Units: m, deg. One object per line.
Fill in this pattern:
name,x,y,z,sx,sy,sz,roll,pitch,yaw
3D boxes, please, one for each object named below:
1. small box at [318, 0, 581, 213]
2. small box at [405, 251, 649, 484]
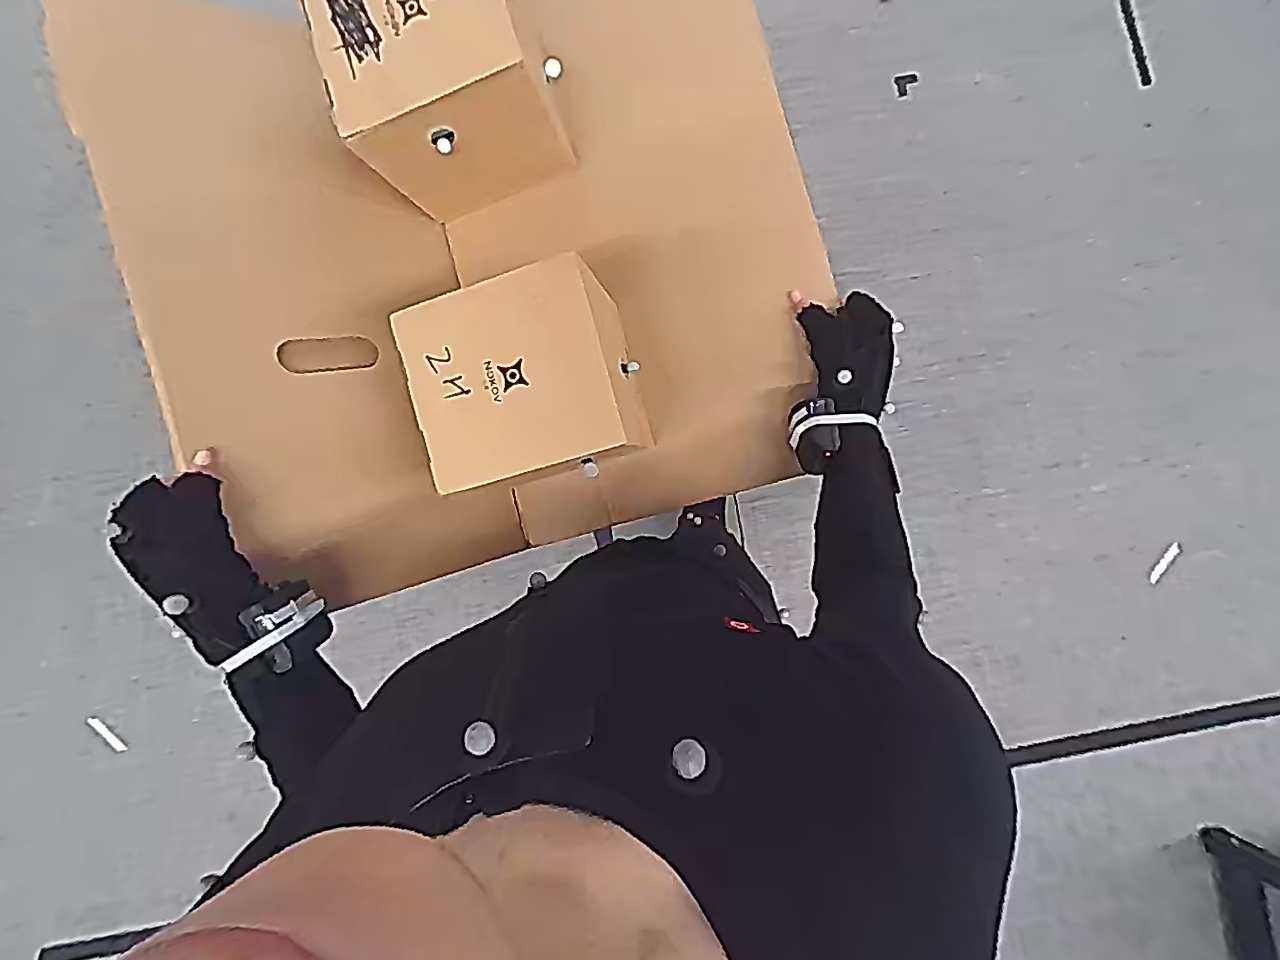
small box,-0.180,-0.405,0.546,0.179,0.176,0.168,-16,90,9
small box,-0.094,-0.098,0.543,0.179,0.176,0.168,-14,89,10
